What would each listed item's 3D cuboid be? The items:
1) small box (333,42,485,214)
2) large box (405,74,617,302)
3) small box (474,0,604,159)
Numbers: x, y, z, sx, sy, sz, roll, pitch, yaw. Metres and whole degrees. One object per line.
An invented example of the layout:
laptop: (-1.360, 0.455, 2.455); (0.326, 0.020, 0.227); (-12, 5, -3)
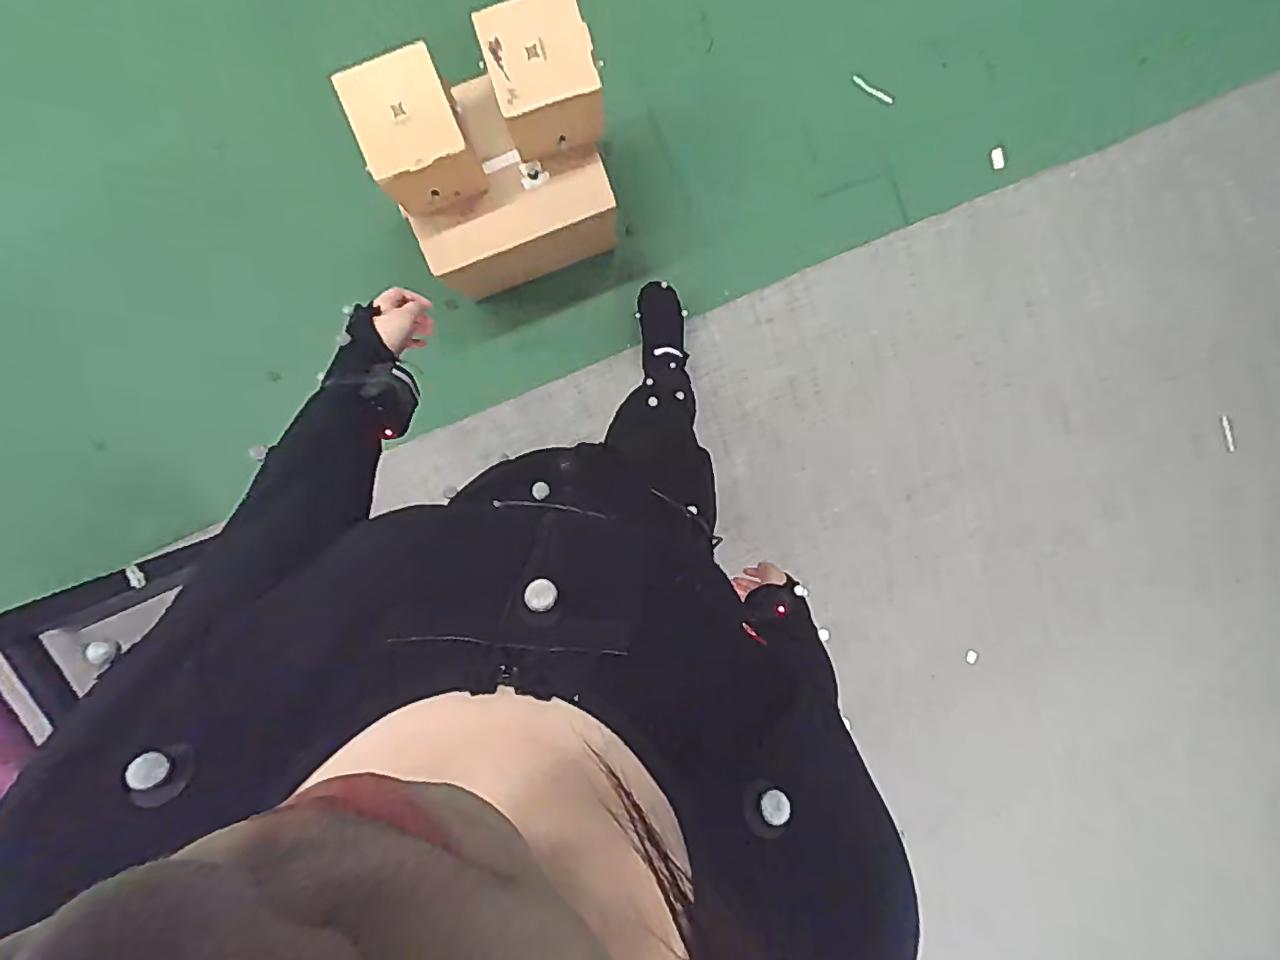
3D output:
small box: (-0.398, -0.612, 0.963); (0.168, 0.176, 0.179); (-21, 99, 0)
large box: (-0.292, -0.642, 1.209); (0.408, 0.320, 0.320); (-21, 100, 0)
small box: (-0.168, -0.707, 0.956); (0.179, 0.176, 0.168); (-16, 99, 0)
